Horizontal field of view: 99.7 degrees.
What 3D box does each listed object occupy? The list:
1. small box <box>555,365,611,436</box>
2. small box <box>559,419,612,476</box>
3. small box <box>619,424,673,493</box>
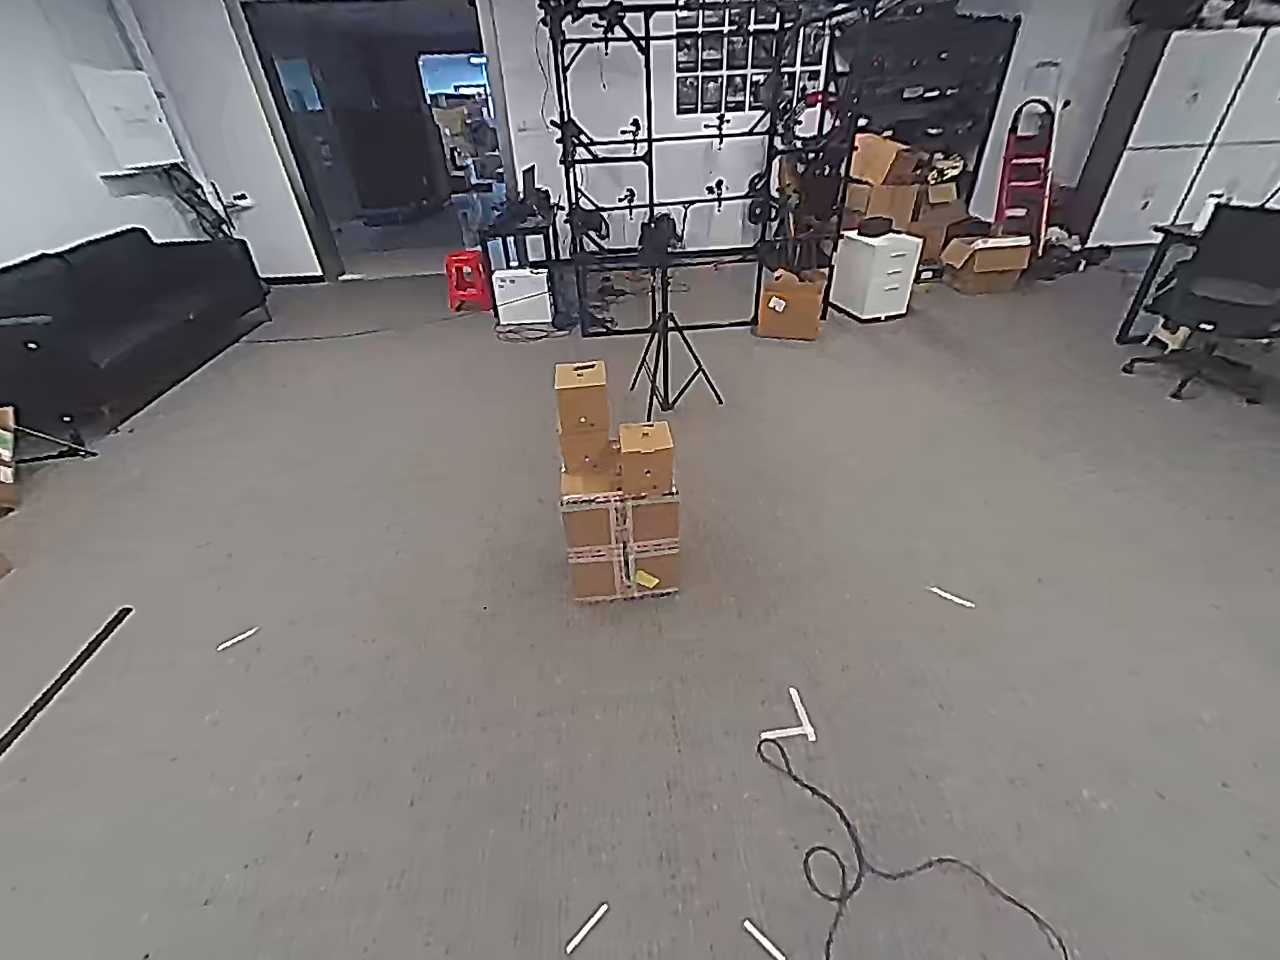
[{"bbox_3d":[-0.189,-0.267,1.810,0.168,0.176,0.179,-6,37,-2],"label":"small box"},{"bbox_3d":[-0.194,-0.136,1.910,0.168,0.176,0.179,-9,37,-5],"label":"small box"},{"bbox_3d":[0.019,-0.067,1.798,0.168,0.176,0.179,-4,37,-3],"label":"small box"}]
